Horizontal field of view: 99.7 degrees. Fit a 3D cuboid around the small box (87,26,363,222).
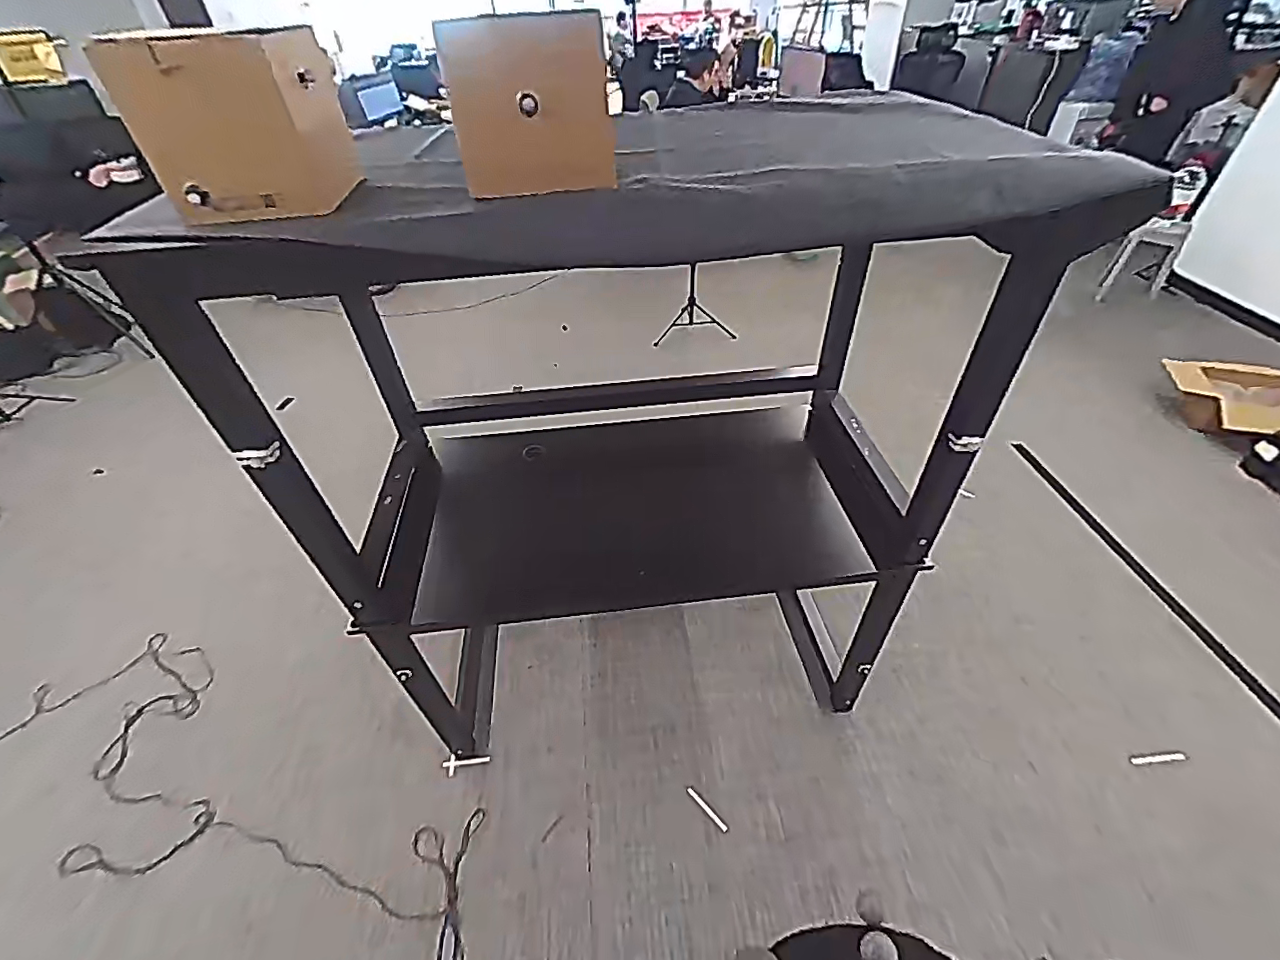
[{"bbox_3d":[-0.452,-0.411,0.632,0.168,0.176,0.179,-7,42,-4],"label":"small box"}]
